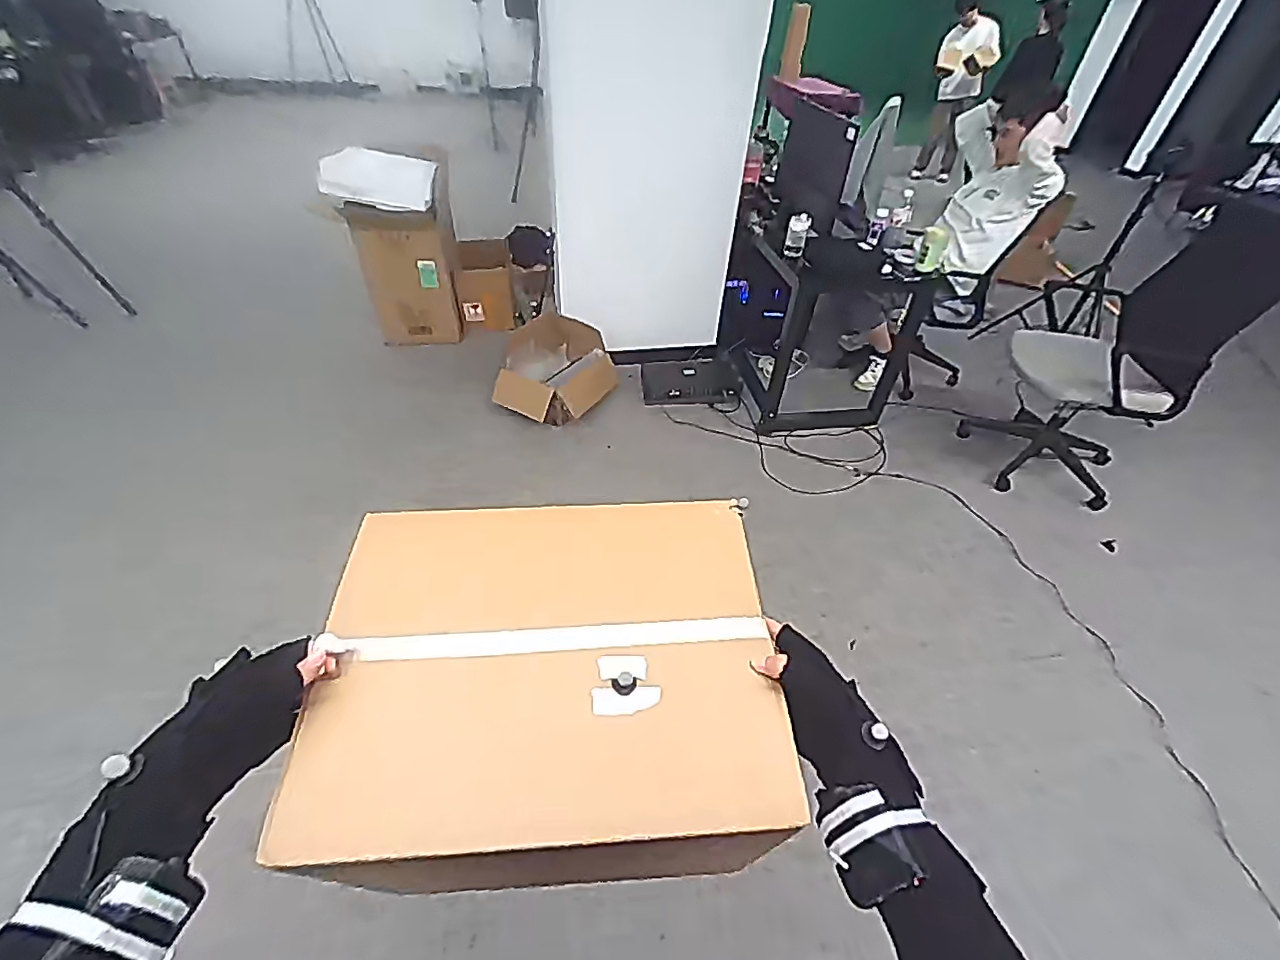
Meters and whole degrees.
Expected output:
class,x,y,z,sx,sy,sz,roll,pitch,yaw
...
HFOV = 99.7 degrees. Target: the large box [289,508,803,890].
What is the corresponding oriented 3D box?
class,x,y,z,sx,sy,sz,roll,pitch,yaw
large box,-0.083,0.251,0.623,0.408,0.320,0.320,-1,50,-4
